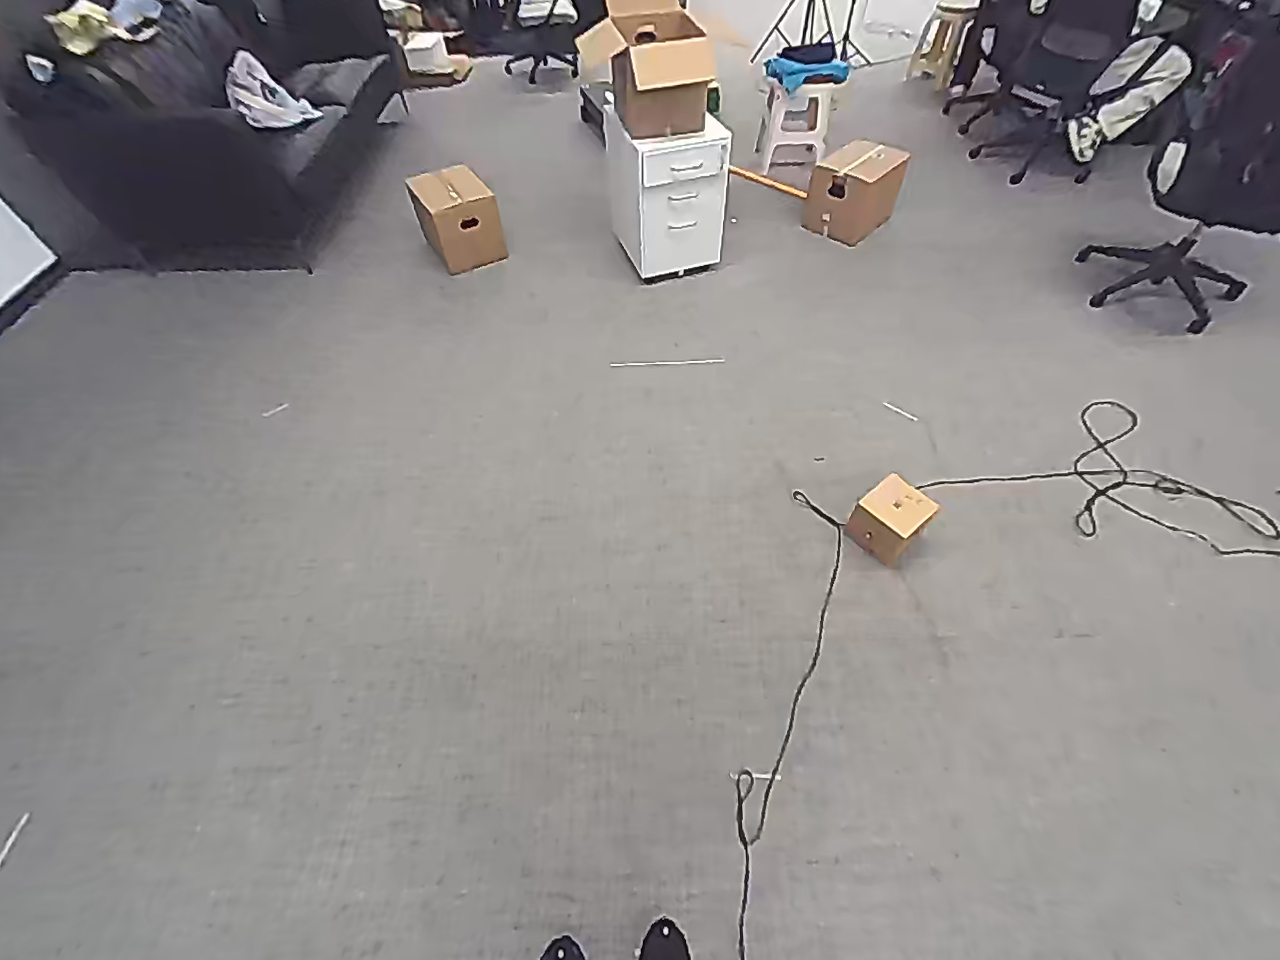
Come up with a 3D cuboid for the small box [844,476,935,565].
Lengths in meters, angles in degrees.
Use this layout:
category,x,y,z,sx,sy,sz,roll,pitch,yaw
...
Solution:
category,x,y,z,sx,sy,sz,roll,pitch,yaw
small box,0.745,0.127,1.639,0.179,0.176,0.168,-33,58,-22
